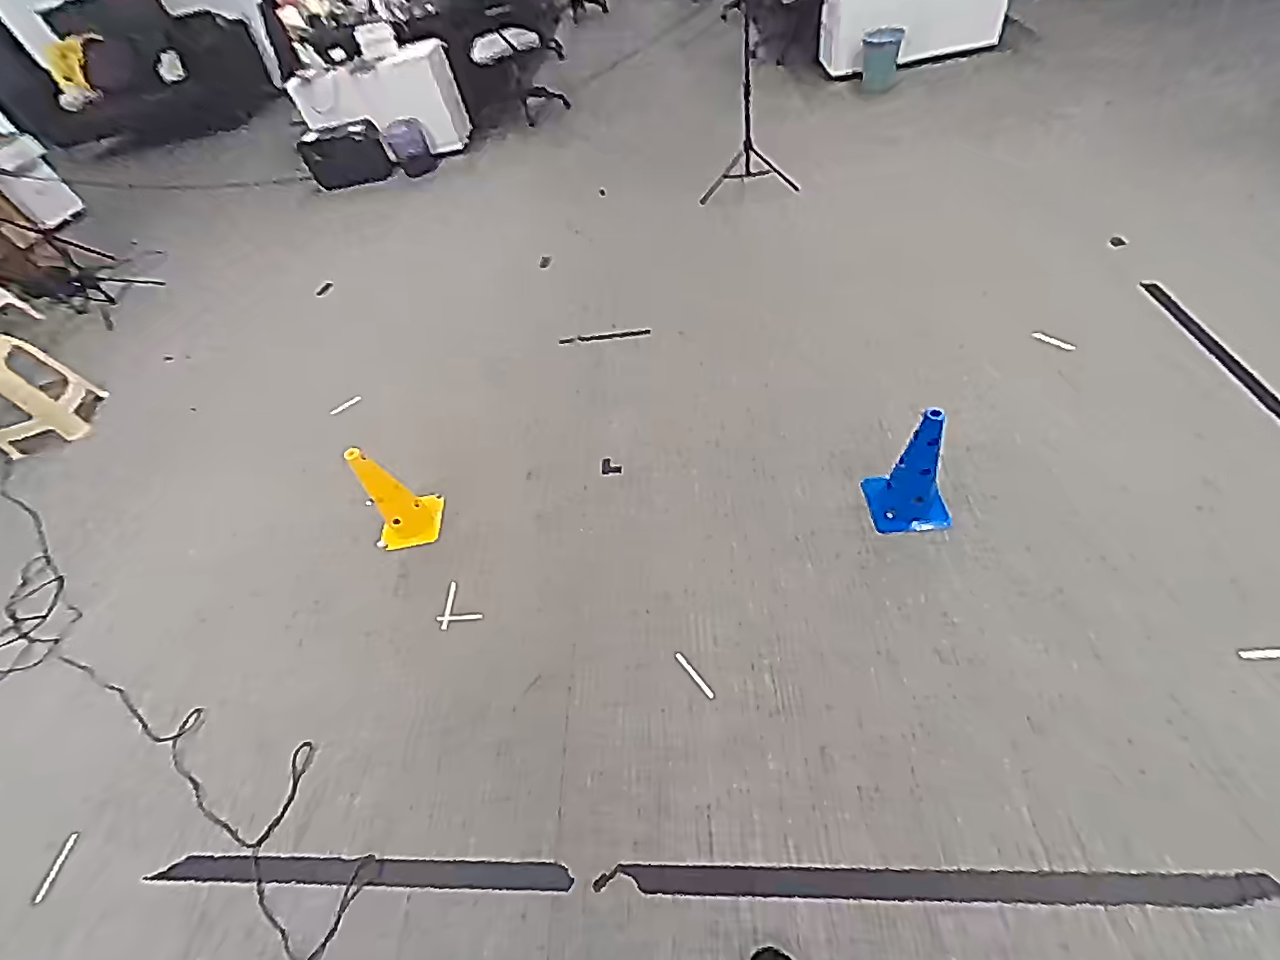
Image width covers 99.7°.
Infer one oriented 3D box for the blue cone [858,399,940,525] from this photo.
[{"bbox_3d":[0.714,-0.056,1.427,0.193,0.380,0.192,-5,50,8],"label":"blue cone"}]
